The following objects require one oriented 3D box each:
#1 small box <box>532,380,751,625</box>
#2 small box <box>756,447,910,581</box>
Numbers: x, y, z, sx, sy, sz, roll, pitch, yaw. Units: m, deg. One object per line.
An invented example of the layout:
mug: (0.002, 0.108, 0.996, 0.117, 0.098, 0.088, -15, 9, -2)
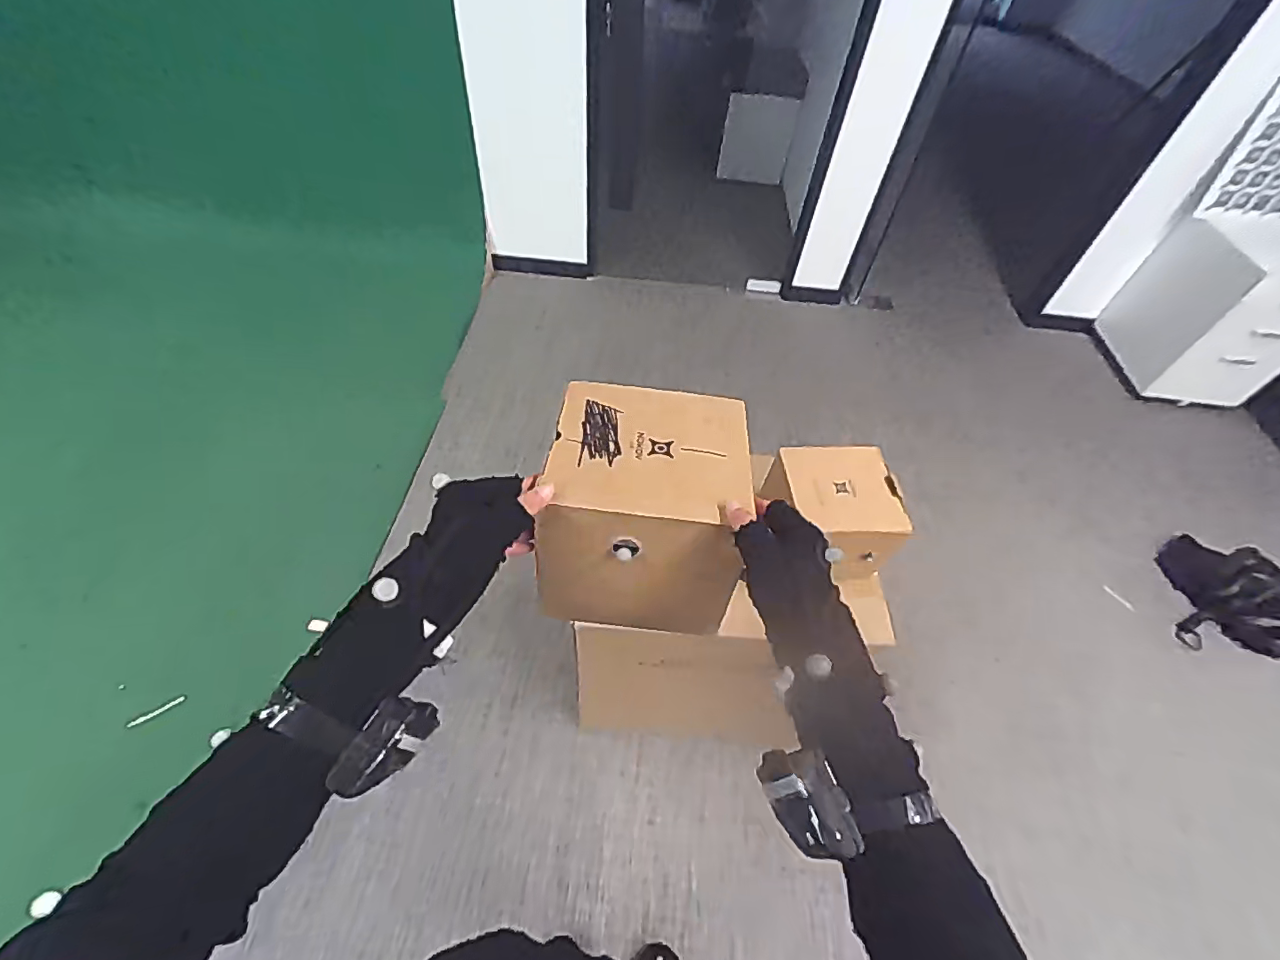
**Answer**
small box: (0.001, 0.025, 0.531, 0.179, 0.176, 0.168, 7, 45, -1)
small box: (0.313, 0.061, 0.918, 0.179, 0.176, 0.168, -3, 54, -5)
